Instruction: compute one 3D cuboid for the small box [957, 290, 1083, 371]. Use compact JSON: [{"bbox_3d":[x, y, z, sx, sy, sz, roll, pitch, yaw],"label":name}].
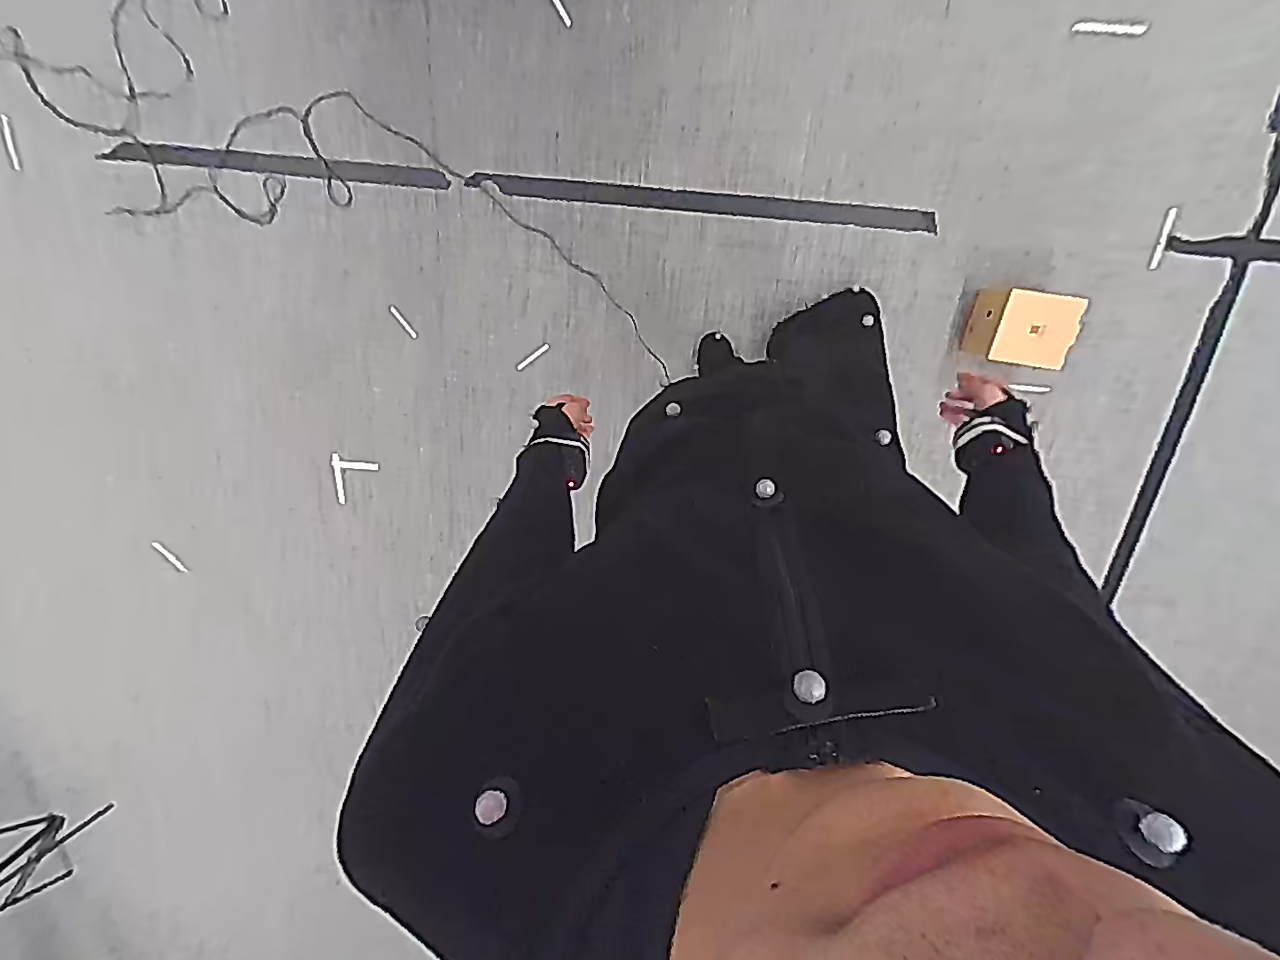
[{"bbox_3d":[0.936,-0.377,1.354,0.179,0.176,0.168,10,110,3],"label":"small box"}]
